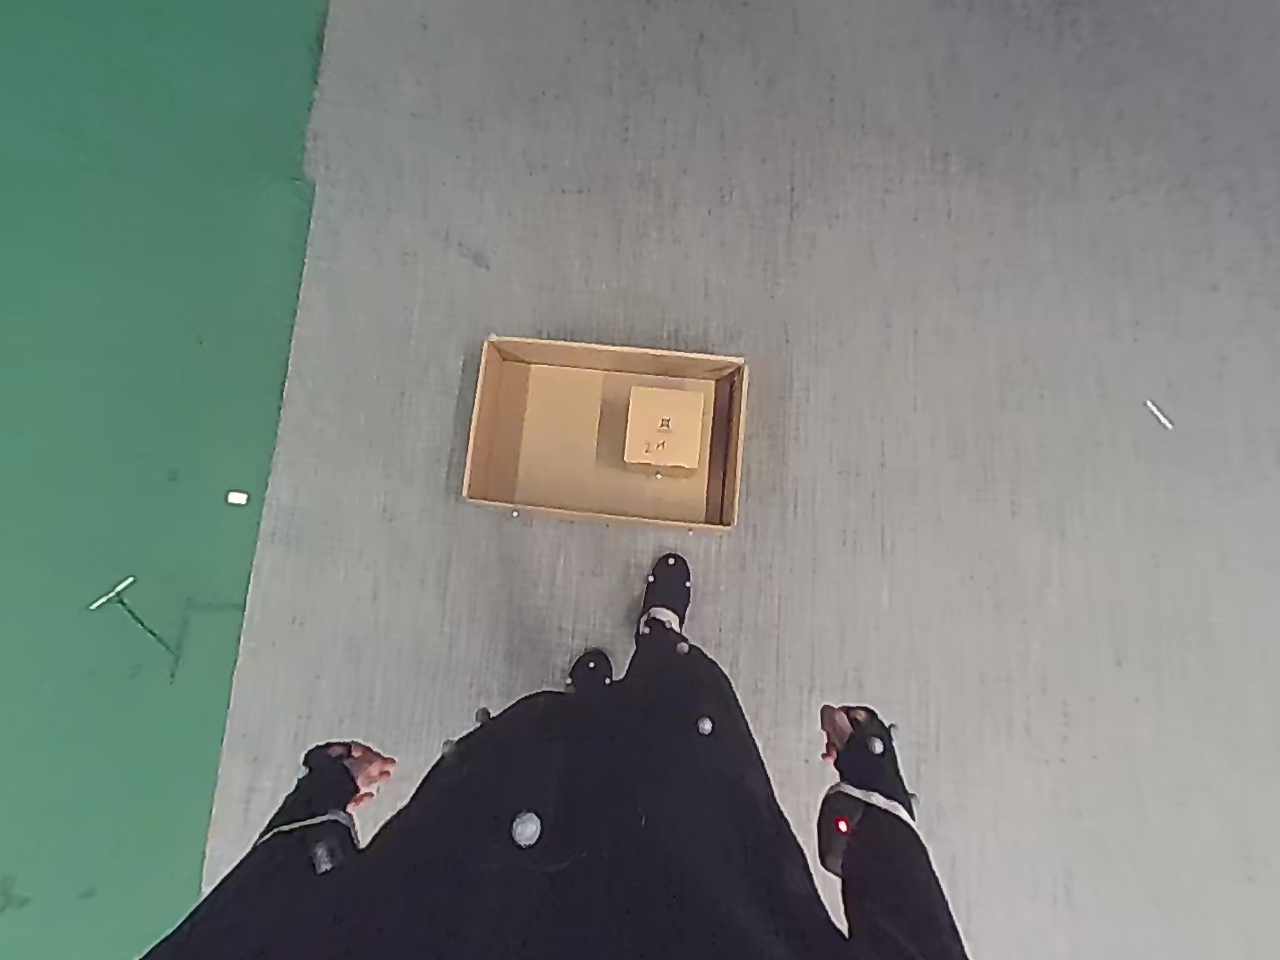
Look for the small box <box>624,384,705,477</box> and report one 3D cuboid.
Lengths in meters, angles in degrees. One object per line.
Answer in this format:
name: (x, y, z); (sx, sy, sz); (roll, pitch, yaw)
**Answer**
small box: (0.057, -0.111, 1.277); (0.168, 0.176, 0.179); (6, 83, 3)
